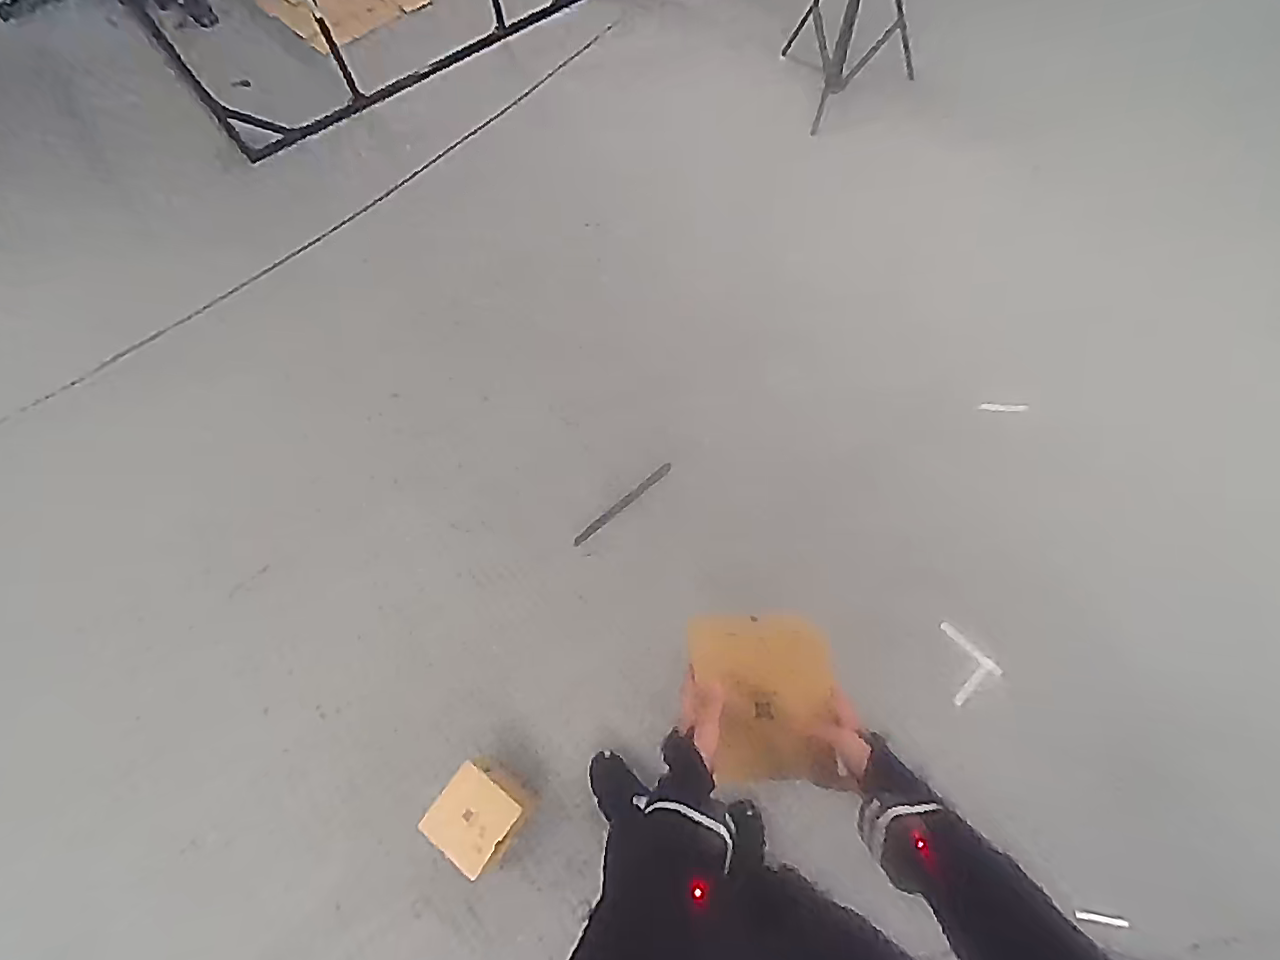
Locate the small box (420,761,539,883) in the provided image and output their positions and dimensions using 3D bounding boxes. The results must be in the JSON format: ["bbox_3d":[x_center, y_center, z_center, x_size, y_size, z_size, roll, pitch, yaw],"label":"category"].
[{"bbox_3d":[-0.364,0.782,1.256,0.179,0.176,0.168,32,71,17],"label":"small box"}]

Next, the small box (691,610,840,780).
[{"bbox_3d":[0.157,0.278,0.731,0.168,0.176,0.179,-4,83,2],"label":"small box"}]
